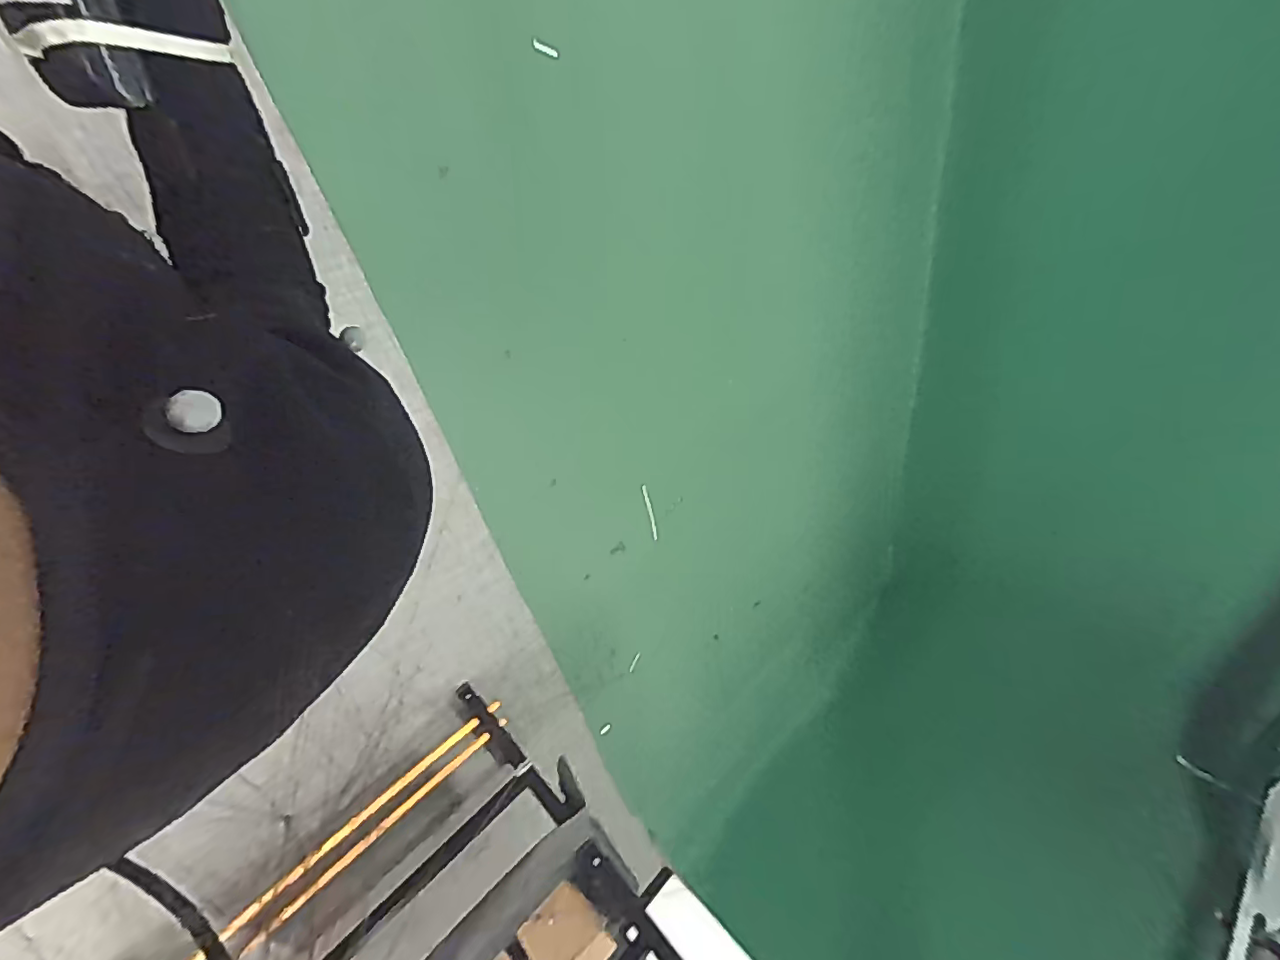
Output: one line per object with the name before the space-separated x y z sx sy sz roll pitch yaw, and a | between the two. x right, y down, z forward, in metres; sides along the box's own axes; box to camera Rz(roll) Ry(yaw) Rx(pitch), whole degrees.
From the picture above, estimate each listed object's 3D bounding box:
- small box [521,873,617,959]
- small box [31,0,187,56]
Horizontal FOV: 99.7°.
small box | -0.192 1.219 1.466 0.168 0.176 0.179 -39 134 -25
small box | -0.869 -0.794 0.853 0.168 0.176 0.179 -36 131 -28
